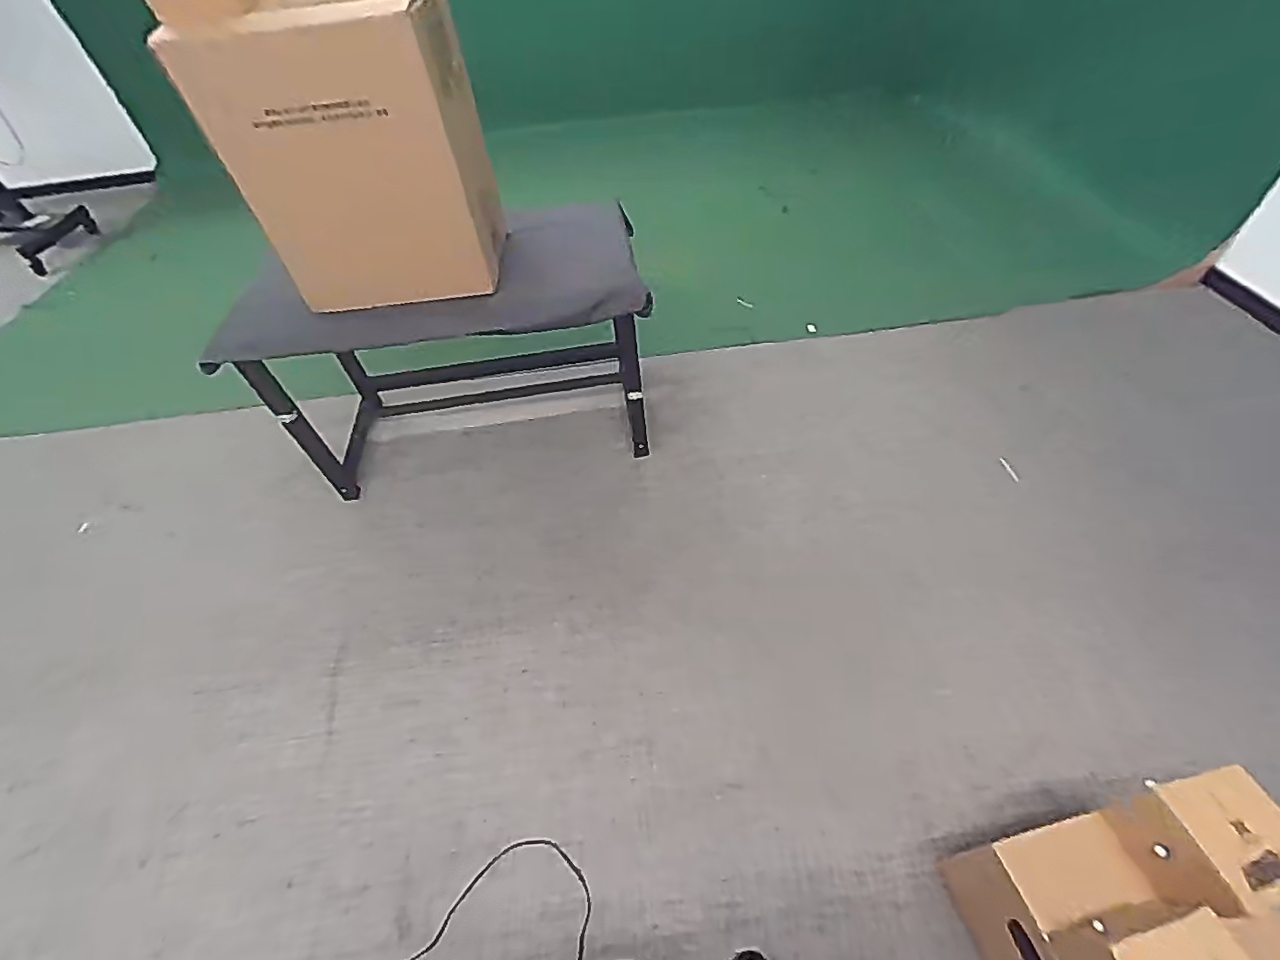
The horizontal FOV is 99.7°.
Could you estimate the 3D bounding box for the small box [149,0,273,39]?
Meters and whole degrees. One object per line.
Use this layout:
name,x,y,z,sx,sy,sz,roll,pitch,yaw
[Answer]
small box,-0.908,-1.036,1.106,0.179,0.176,0.168,-6,57,1

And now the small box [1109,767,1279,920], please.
small box,0.961,0.613,0.904,0.168,0.176,0.179,-12,46,-4

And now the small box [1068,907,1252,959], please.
small box,0.788,0.760,0.798,0.179,0.176,0.168,-14,53,-8
